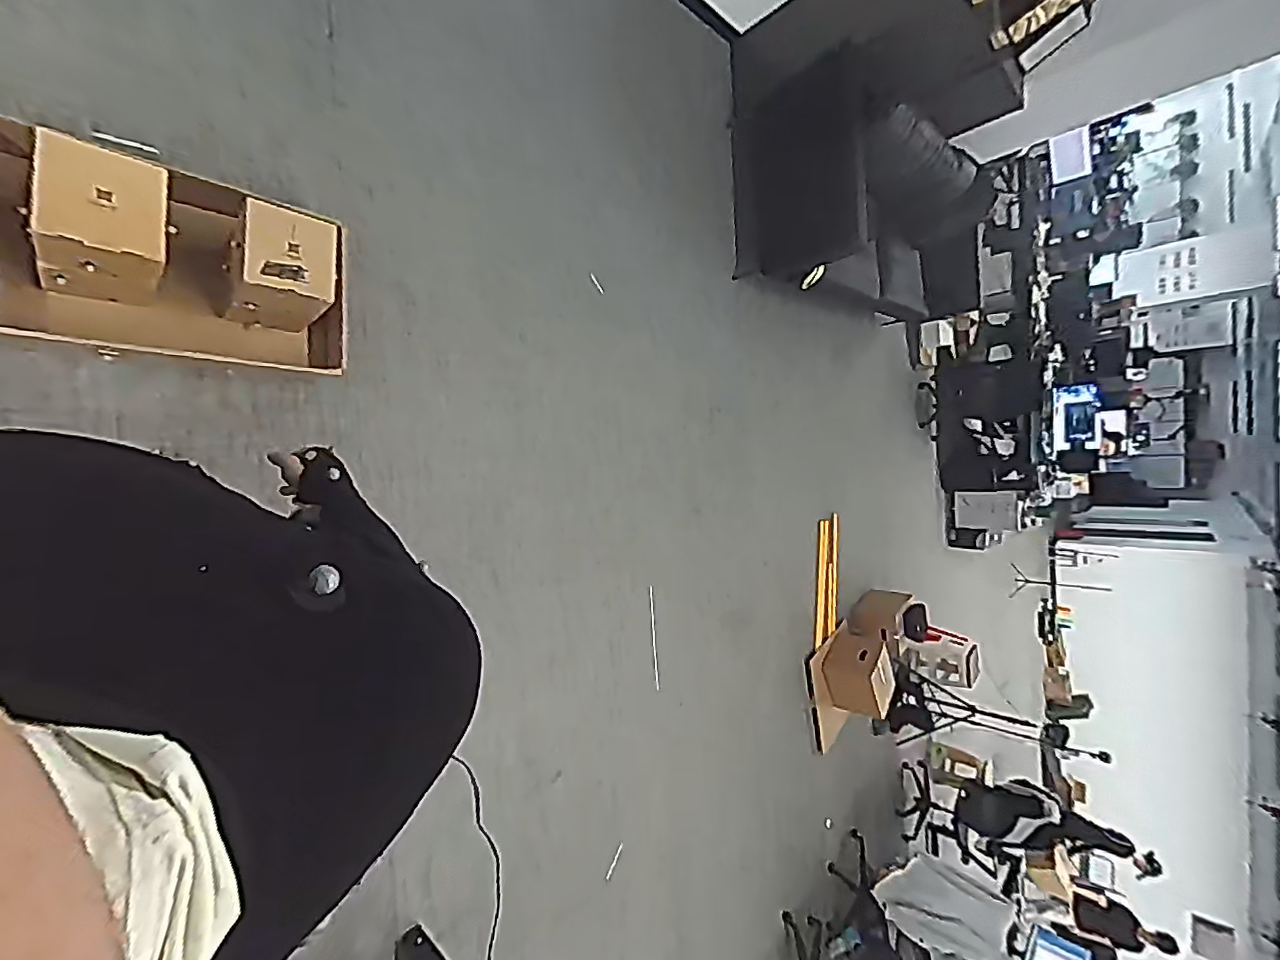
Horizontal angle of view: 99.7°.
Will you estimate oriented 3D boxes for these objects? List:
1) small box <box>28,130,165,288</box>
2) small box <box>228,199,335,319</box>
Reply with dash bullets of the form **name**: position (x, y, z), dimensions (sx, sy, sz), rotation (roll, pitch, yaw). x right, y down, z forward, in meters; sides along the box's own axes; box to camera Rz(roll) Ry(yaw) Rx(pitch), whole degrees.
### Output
- **small box**: position (-0.985, -0.476, 0.982), dimensions (0.168, 0.176, 0.179), rotation (2, 87, -47)
- **small box**: position (-0.786, -0.470, 1.184), dimensions (0.168, 0.176, 0.179), rotation (3, 85, -45)
